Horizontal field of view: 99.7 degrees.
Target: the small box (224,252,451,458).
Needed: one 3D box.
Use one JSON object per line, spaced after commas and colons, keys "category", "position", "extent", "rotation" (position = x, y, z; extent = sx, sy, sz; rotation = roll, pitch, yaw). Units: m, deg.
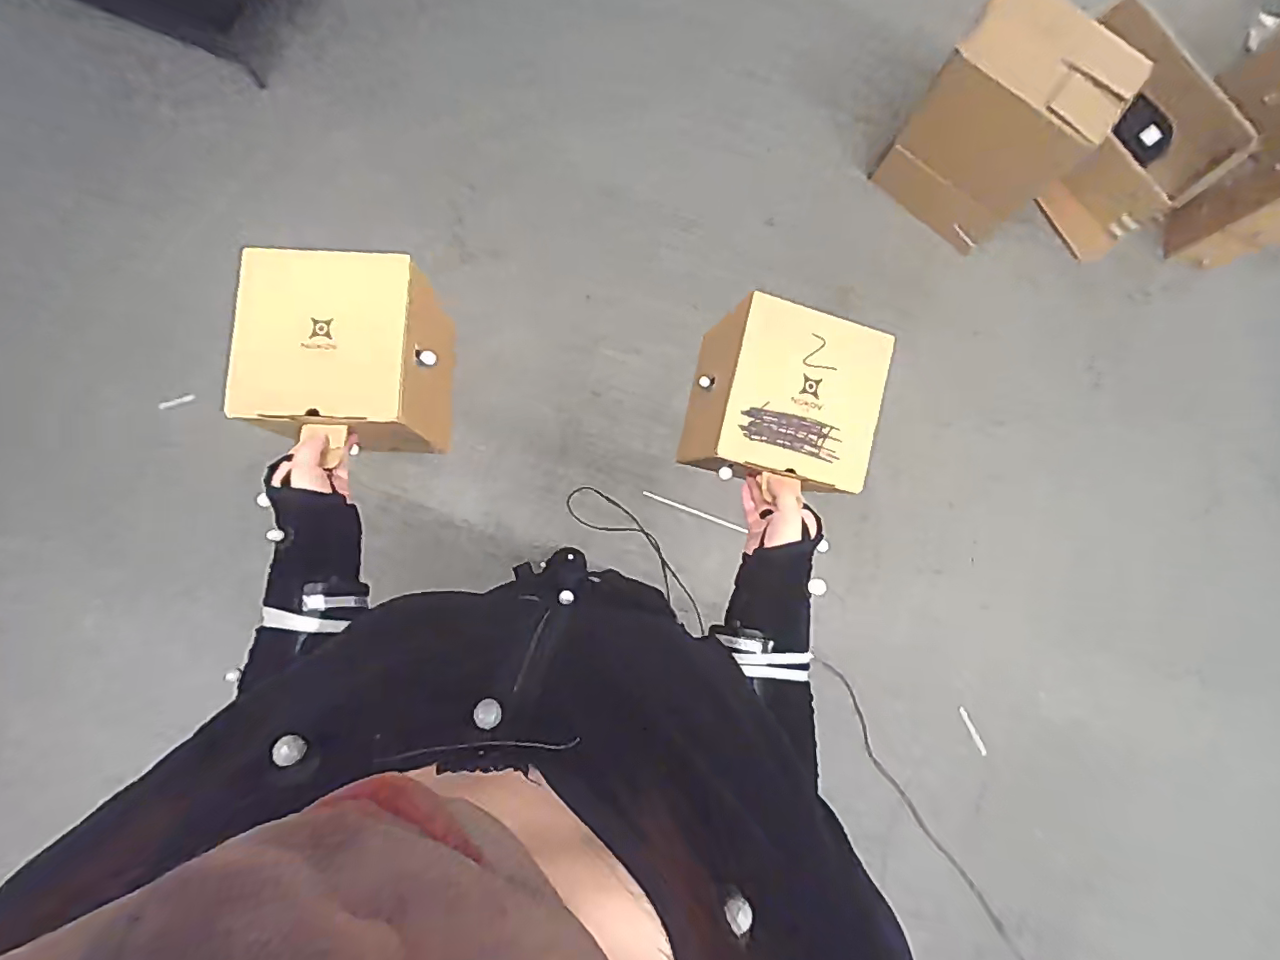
{"category": "small box", "position": [-0.319, -0.128, 0.611], "extent": [0.168, 0.176, 0.179], "rotation": [1, 83, -4]}
